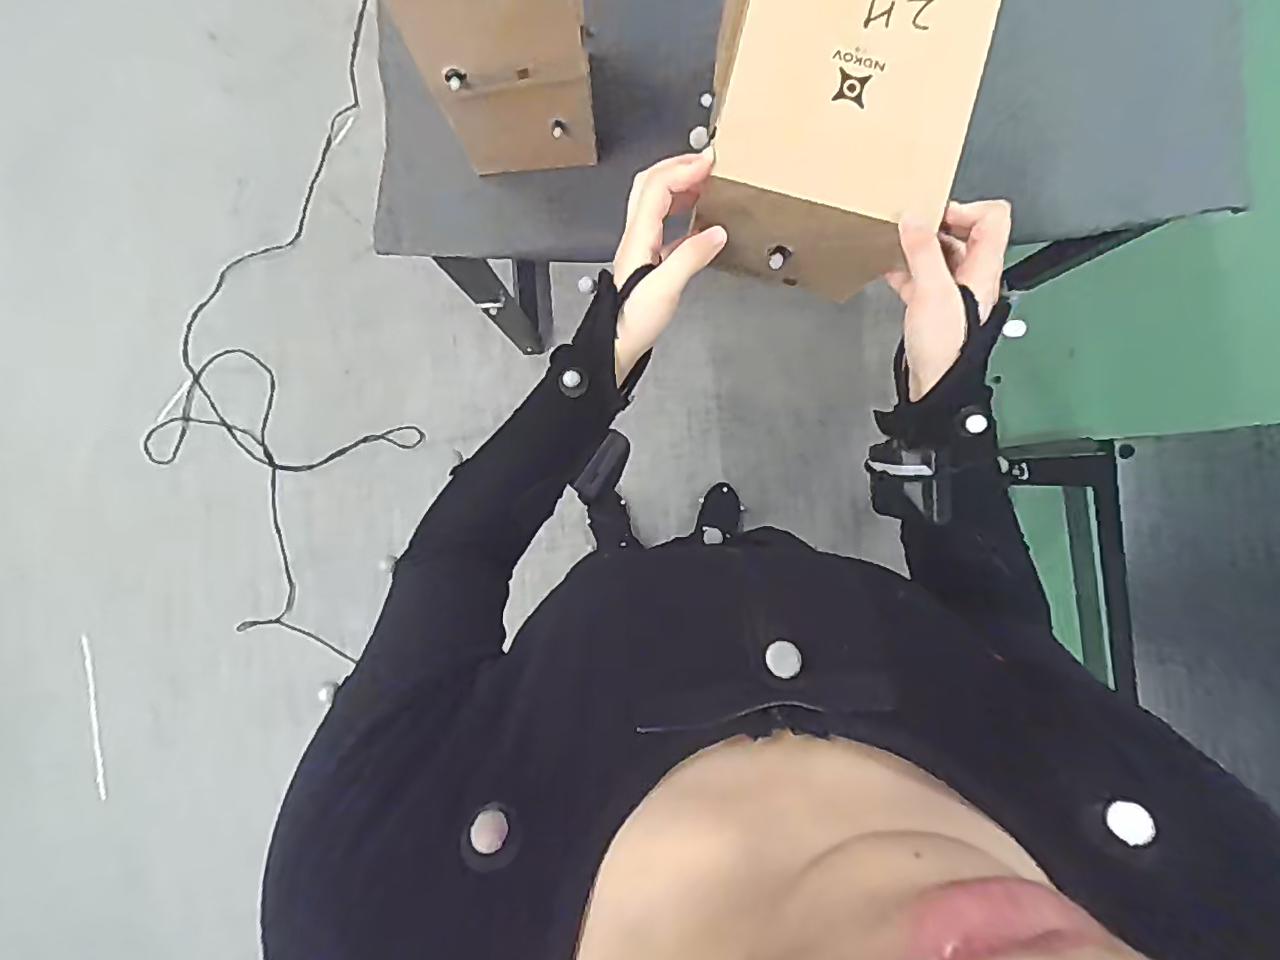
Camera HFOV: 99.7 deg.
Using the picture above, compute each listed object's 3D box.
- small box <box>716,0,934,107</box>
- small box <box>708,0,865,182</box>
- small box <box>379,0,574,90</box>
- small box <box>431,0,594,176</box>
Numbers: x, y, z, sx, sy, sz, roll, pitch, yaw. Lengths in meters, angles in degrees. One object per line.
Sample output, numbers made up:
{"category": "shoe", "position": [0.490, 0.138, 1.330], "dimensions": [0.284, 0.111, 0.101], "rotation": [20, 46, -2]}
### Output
{"category": "small box", "position": [0.180, -0.500, 0.518], "dimensions": [0.179, 0.176, 0.168], "rotation": [10, 89, 2]}
{"category": "small box", "position": [0.179, -0.506, 0.682], "dimensions": [0.168, 0.176, 0.179], "rotation": [5, 90, 1]}
{"category": "small box", "position": [-0.165, -0.518, 0.522], "dimensions": [0.168, 0.176, 0.179], "rotation": [-10, 87, 0]}
{"category": "small box", "position": [-0.154, -0.518, 0.686], "dimensions": [0.179, 0.176, 0.168], "rotation": [-6, 88, 1]}
